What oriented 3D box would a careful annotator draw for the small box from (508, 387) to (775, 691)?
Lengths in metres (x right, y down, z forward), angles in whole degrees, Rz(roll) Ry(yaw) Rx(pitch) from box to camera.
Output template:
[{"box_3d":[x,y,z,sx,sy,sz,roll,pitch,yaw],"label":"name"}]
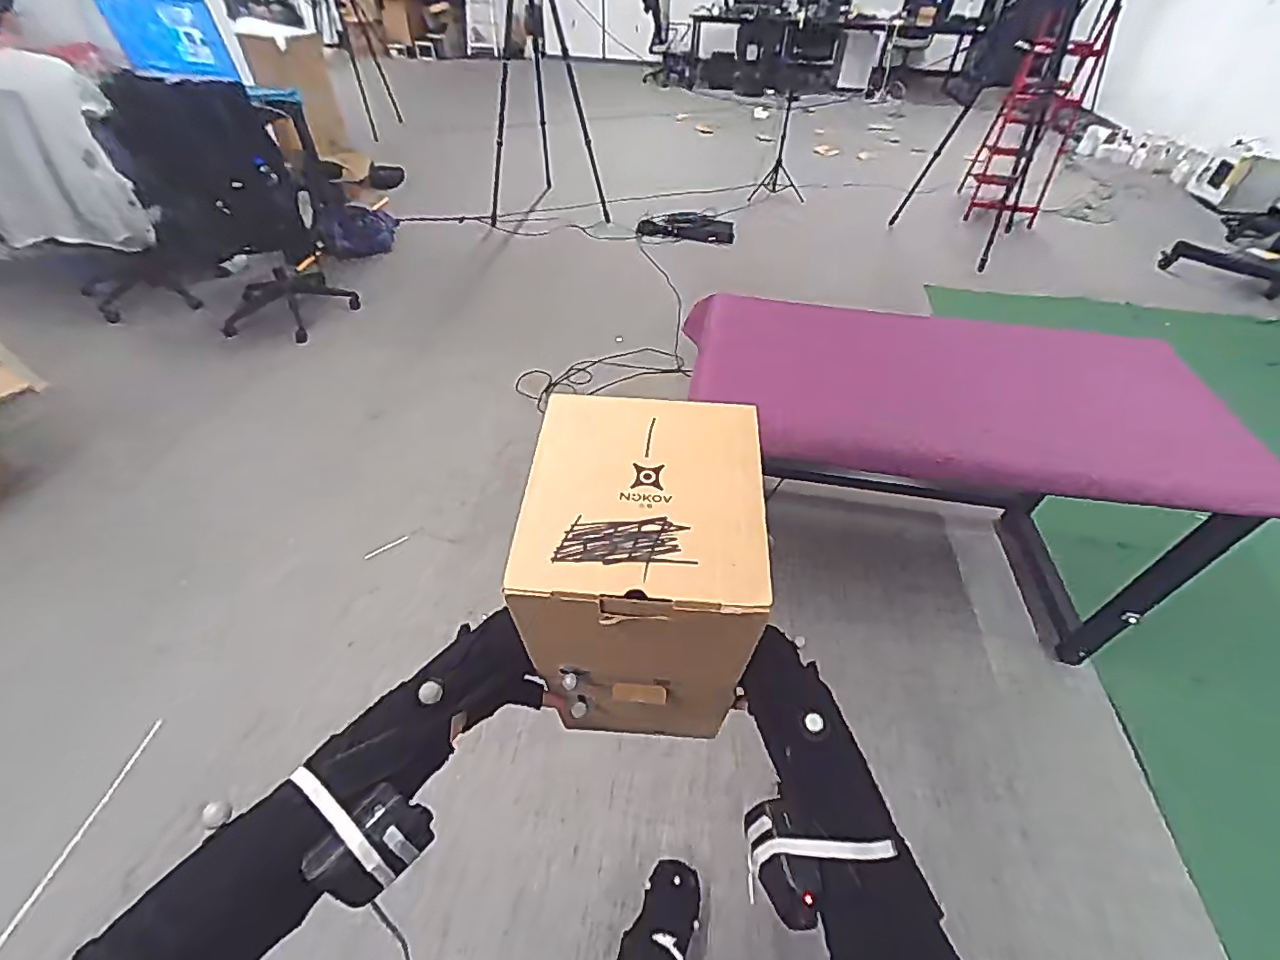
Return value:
[{"box_3d":[0.009,0.053,0.435,0.168,0.176,0.179,8,53,3],"label":"small box"}]
